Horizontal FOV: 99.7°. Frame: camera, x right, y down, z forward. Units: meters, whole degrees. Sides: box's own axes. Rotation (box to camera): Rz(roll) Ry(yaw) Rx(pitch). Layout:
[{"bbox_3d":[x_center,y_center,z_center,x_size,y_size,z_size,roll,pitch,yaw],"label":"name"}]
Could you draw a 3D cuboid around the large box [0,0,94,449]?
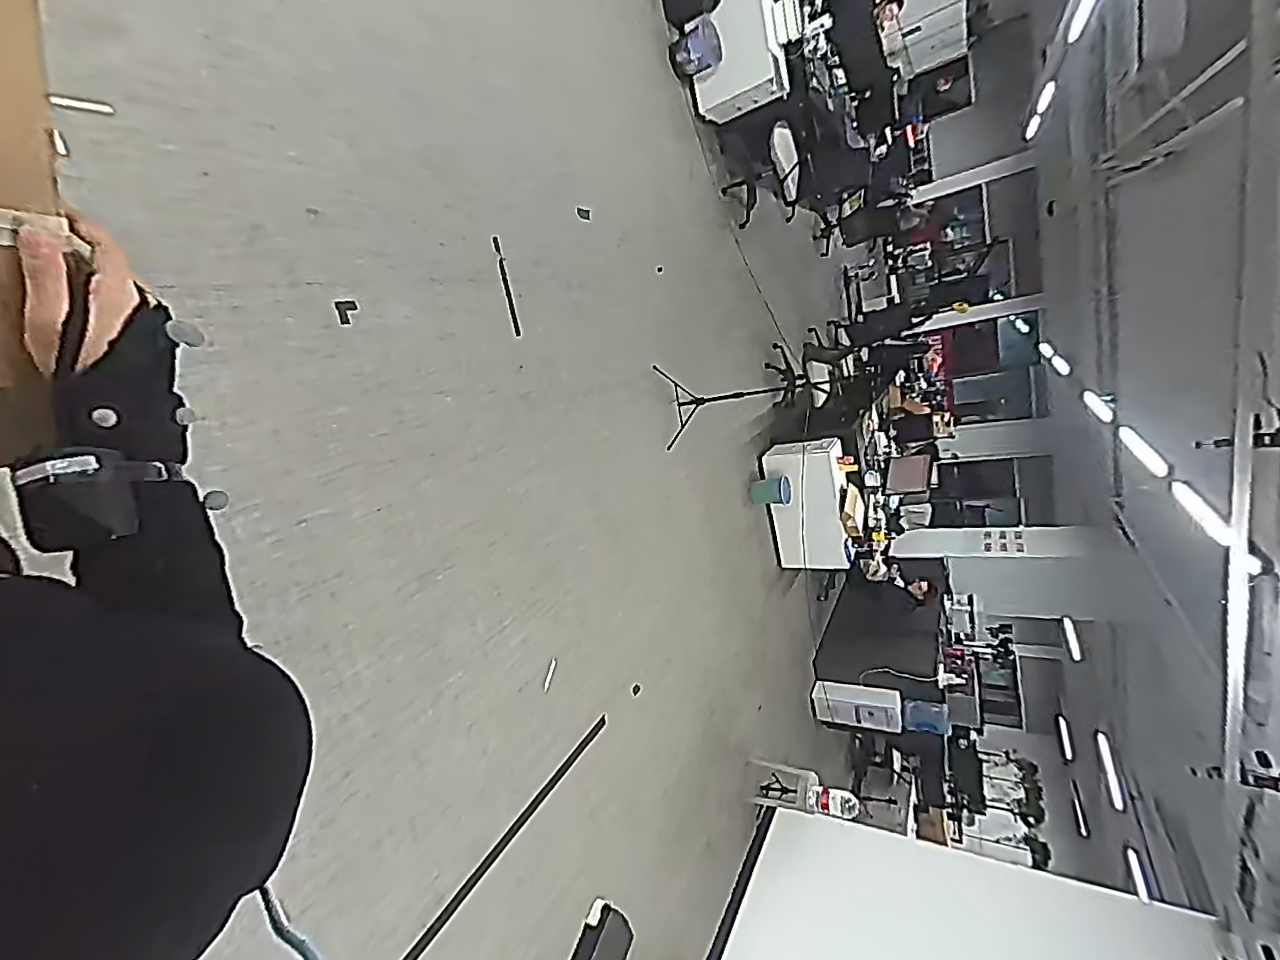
[{"bbox_3d":[-0.604,-0.188,0.257,0.408,0.320,0.320,-19,131,-55],"label":"large box"}]
